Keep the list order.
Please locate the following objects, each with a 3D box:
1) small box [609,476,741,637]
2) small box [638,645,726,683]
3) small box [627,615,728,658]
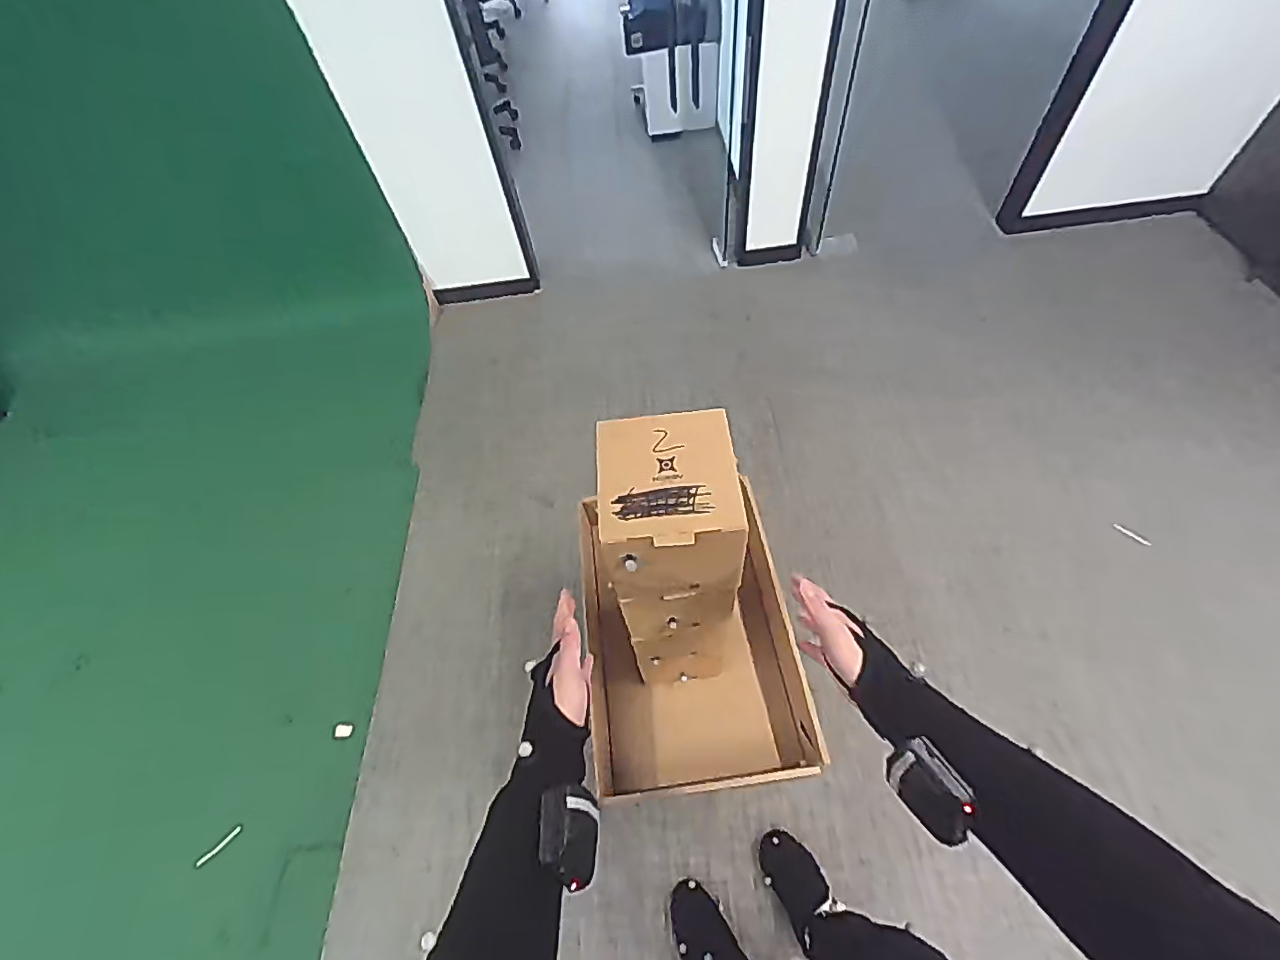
[{"bbox_3d":[0.049,0.121,0.833,0.168,0.176,0.179,-10,56,-1],"label":"small box"},{"bbox_3d":[0.077,0.298,1.105,0.168,0.176,0.179,-9,56,1],"label":"small box"},{"bbox_3d":[0.061,0.208,0.970,0.168,0.176,0.179,-10,55,-1],"label":"small box"}]
